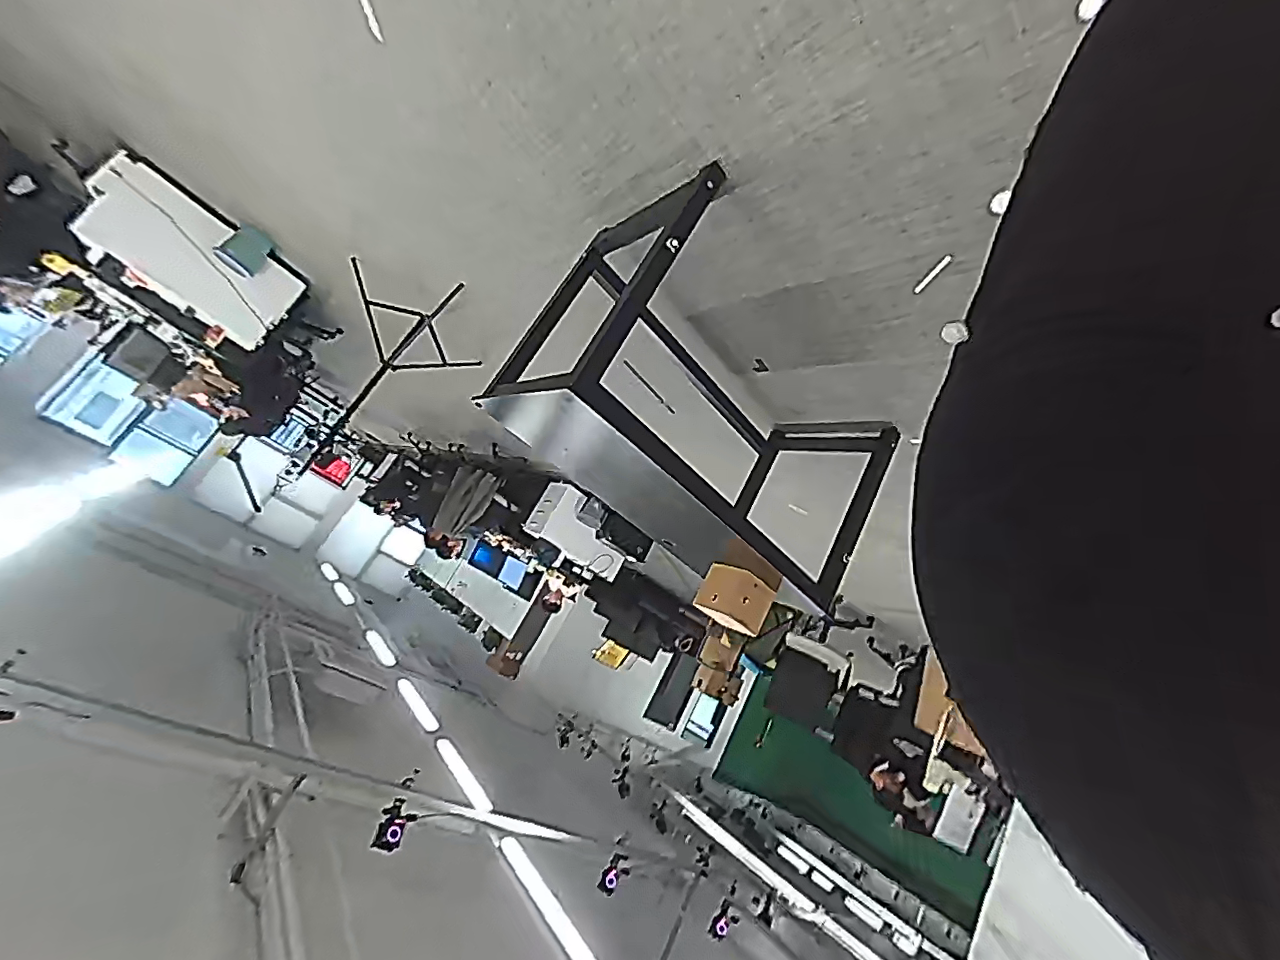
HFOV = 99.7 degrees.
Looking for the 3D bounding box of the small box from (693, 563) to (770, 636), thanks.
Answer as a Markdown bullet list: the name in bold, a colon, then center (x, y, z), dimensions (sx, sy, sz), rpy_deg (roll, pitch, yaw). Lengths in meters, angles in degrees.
- **small box**: center (0.319, 0.399, 1.836), dimensions (0.168, 0.176, 0.179), rpy_deg (40, 162, -27)
